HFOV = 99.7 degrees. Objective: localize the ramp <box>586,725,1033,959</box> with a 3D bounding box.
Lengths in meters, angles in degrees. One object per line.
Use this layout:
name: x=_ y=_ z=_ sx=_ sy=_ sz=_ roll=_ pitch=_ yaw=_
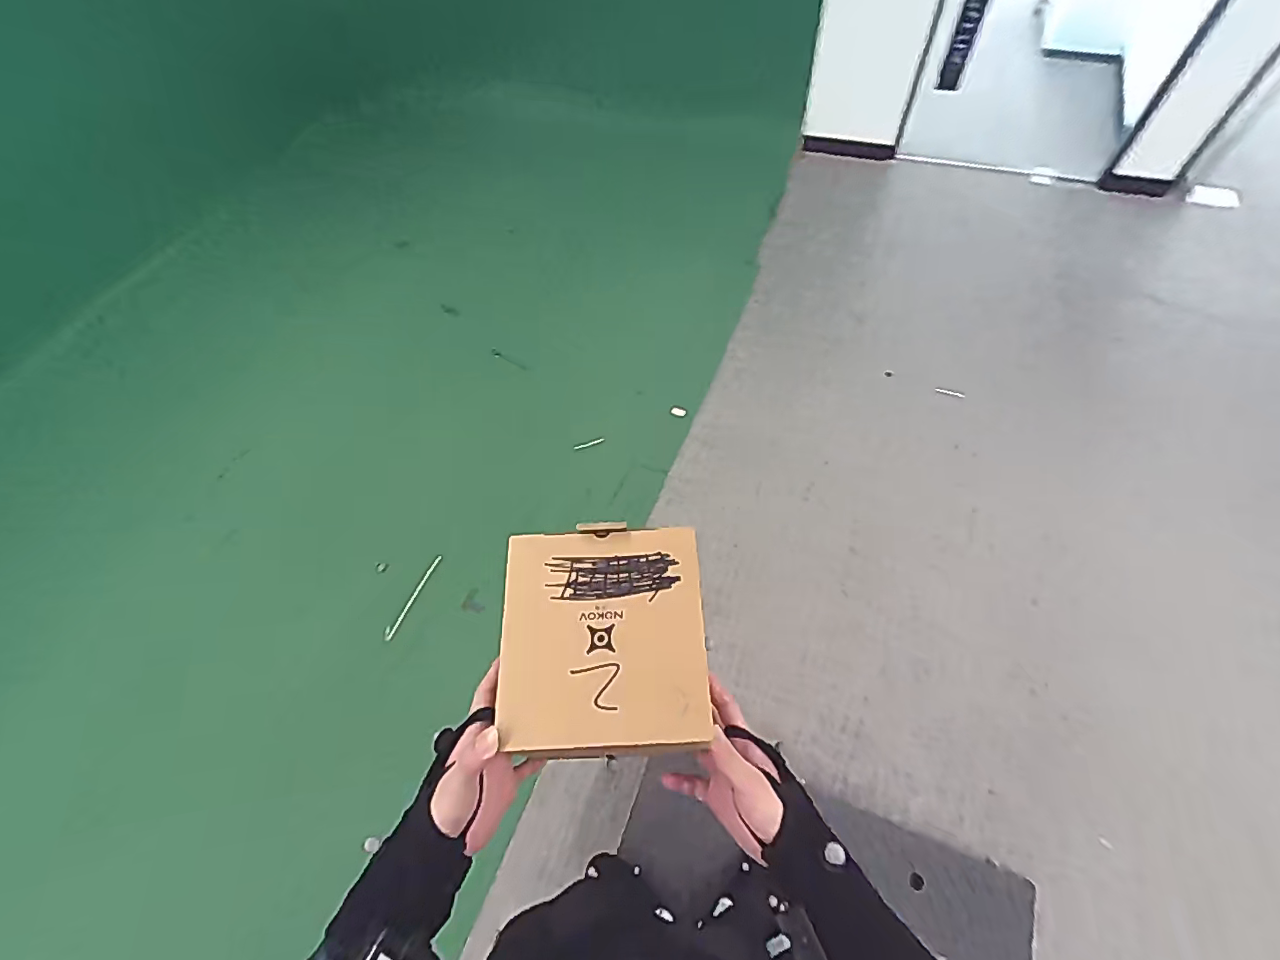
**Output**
ramp: x=0.423 y=1.013 z=1.273 sx=0.991 sy=0.206 sz=0.509 roll=15 pitch=62 yaw=13
